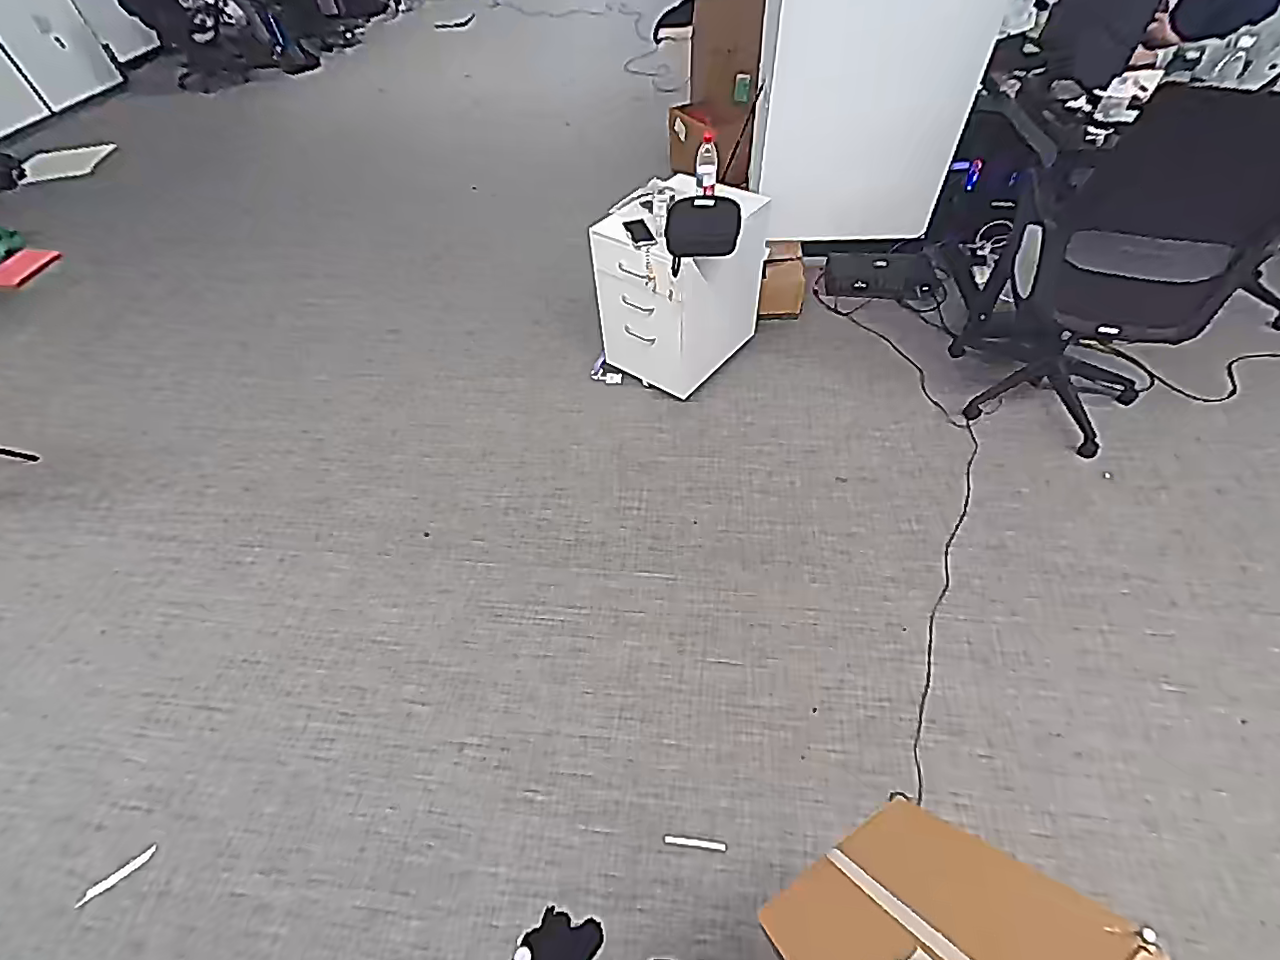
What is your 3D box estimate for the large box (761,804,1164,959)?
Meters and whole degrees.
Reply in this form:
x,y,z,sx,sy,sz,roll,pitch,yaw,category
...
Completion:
x,y,z,sx,sy,sz,roll,pitch,yaw,category
0.422,0.703,0.677,0.320,0.408,0.320,-28,84,-15,large box
